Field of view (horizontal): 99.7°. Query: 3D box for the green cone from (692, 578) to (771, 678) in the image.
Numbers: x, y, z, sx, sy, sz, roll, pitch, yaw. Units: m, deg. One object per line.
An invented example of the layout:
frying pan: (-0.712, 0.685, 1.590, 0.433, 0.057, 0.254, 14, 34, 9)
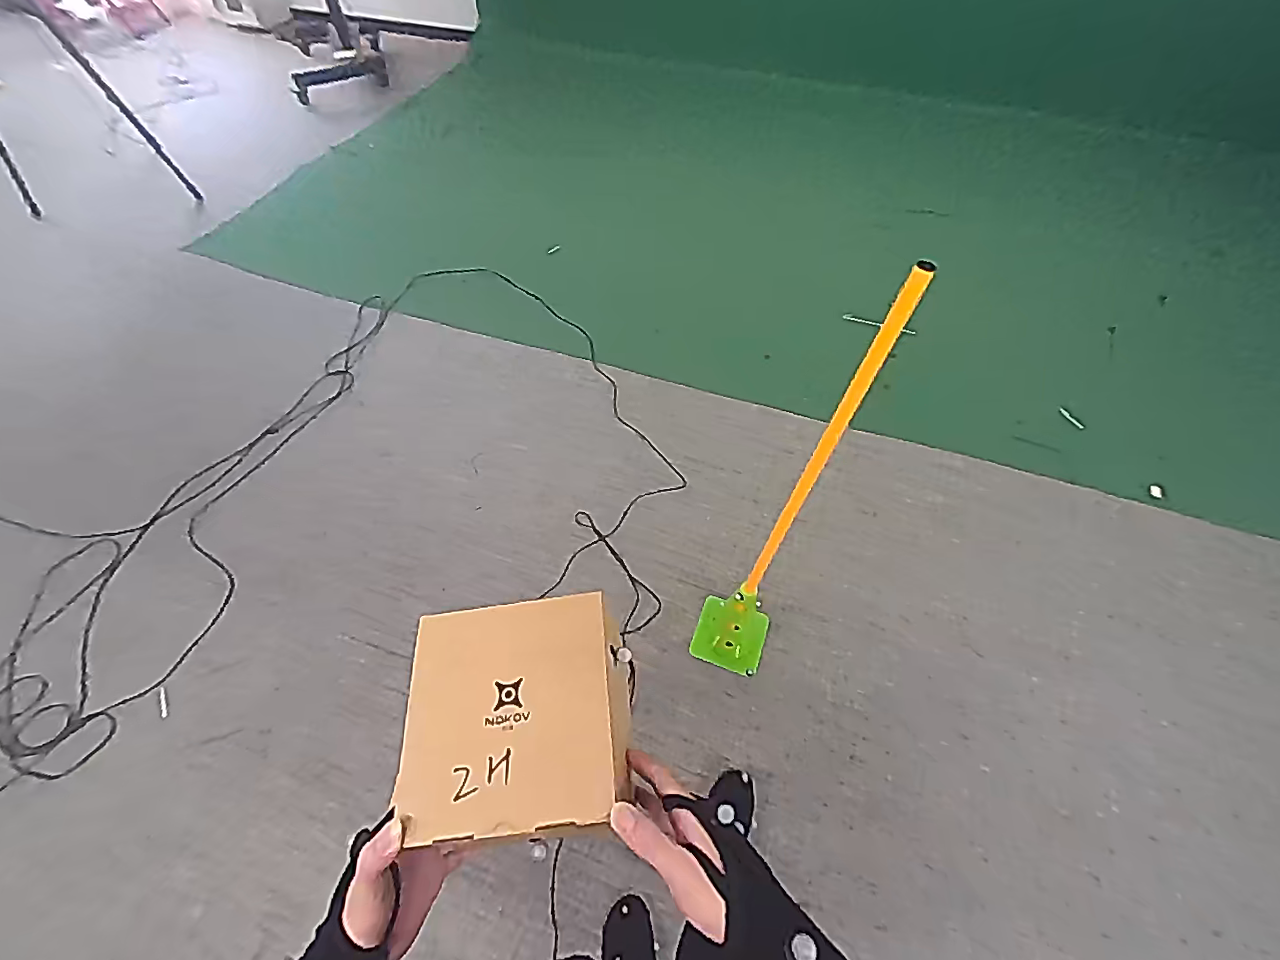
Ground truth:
green cone: (0.268, 0.356, 1.447, 0.202, 0.368, 0.200, 17, 56, 13)
